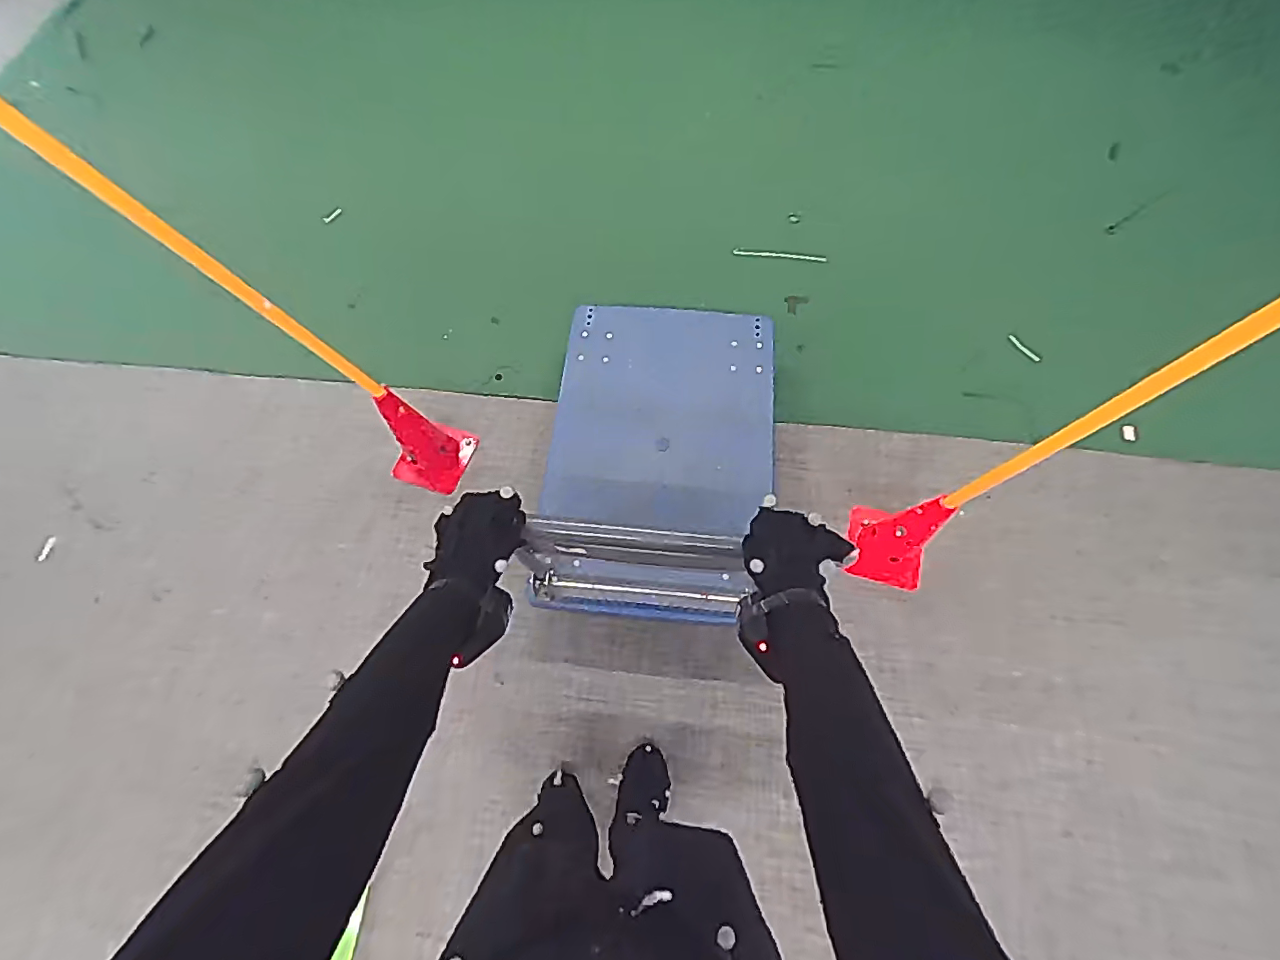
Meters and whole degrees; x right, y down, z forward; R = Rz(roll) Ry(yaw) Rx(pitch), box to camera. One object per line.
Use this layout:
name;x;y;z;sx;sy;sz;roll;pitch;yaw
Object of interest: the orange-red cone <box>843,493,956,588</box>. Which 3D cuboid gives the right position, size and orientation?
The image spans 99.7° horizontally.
orange-red cone;0.650;0.112;1.291;0.198;0.360;0.199;16;70;9
